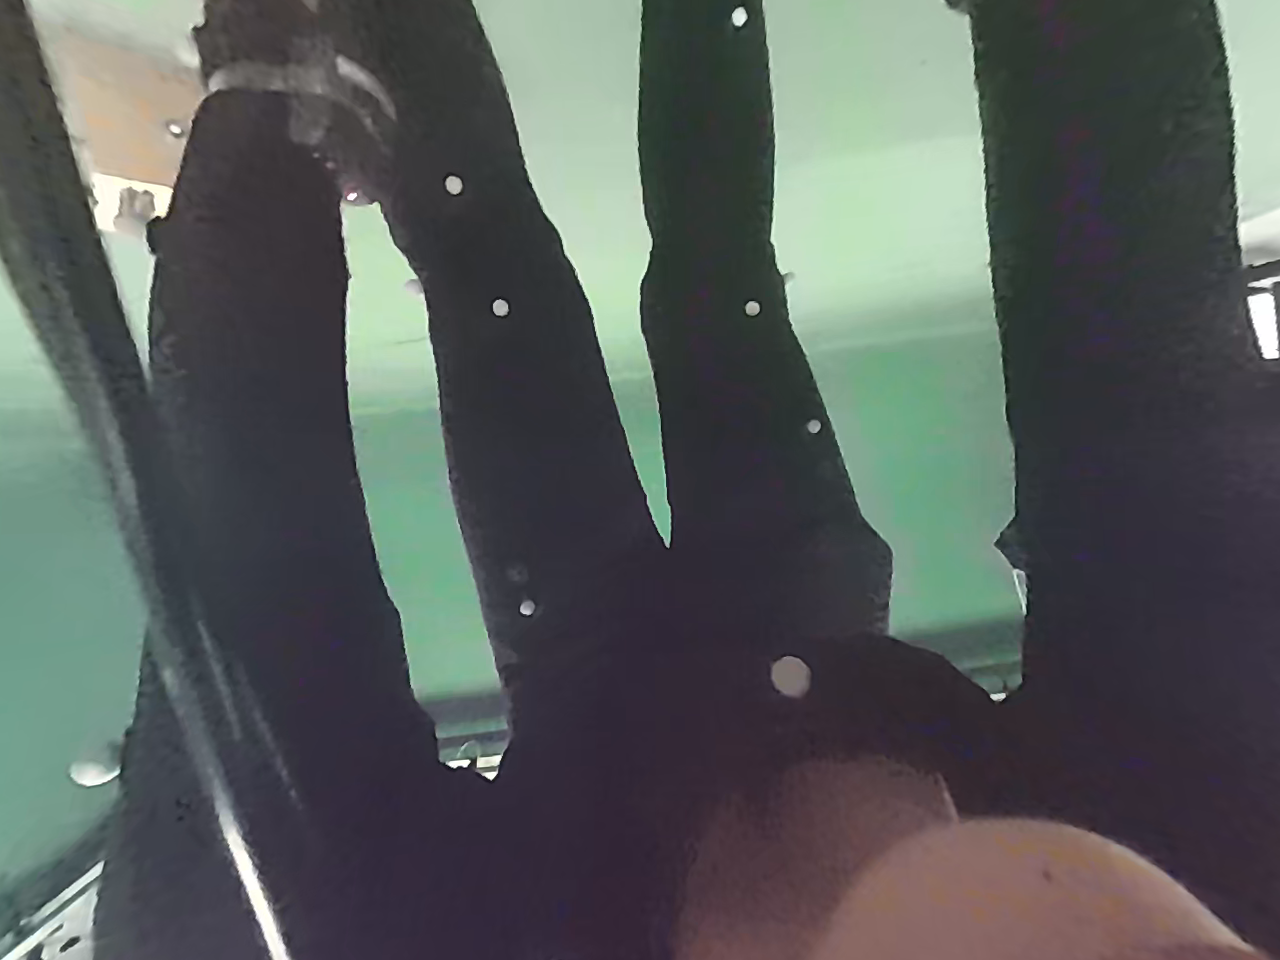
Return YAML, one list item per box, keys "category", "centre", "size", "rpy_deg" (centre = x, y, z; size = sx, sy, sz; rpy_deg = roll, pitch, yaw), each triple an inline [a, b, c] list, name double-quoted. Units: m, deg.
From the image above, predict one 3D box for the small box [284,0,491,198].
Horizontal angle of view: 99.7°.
- category: "small box"
  centre: [-0.321, -0.500, 0.694]
  size: [0.168, 0.176, 0.179]
  rpy_deg: [-6, -177, 37]
